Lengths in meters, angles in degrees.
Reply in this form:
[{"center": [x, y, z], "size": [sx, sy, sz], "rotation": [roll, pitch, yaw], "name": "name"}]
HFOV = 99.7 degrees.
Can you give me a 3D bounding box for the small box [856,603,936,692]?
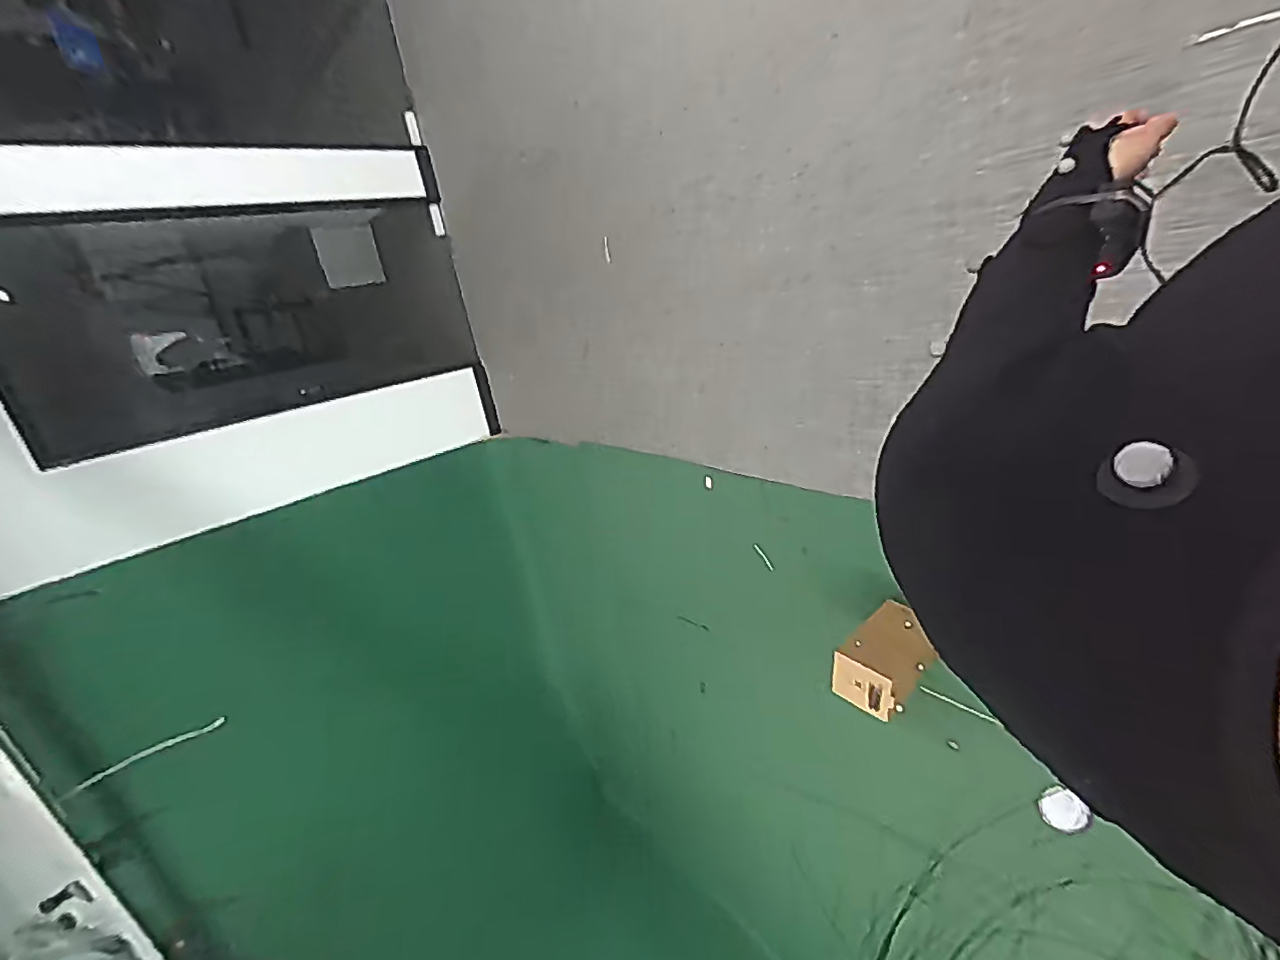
[{"center": [0.810, 0.519, 1.706], "size": [0.168, 0.176, 0.179], "rotation": [24, 127, 43], "name": "small box"}]
